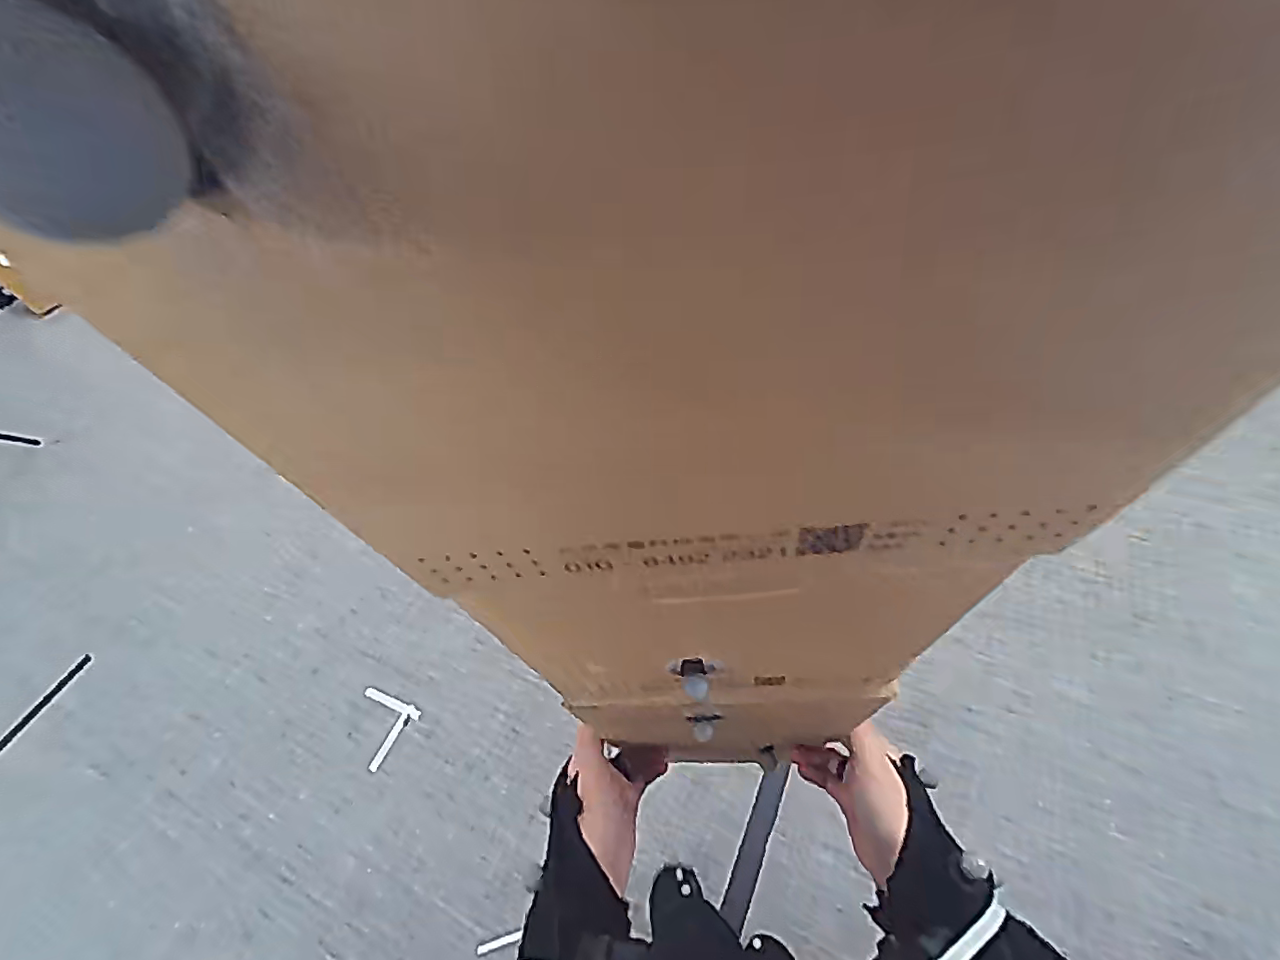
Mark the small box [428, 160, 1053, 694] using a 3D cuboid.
[{"bbox_3d":[0.030,-0.012,0.253,0.168,0.176,0.179,-5,57,5],"label":"small box"}]

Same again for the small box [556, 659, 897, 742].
[{"bbox_3d":[0.051,0.084,0.382,0.179,0.176,0.168,-4,57,5],"label":"small box"}]
